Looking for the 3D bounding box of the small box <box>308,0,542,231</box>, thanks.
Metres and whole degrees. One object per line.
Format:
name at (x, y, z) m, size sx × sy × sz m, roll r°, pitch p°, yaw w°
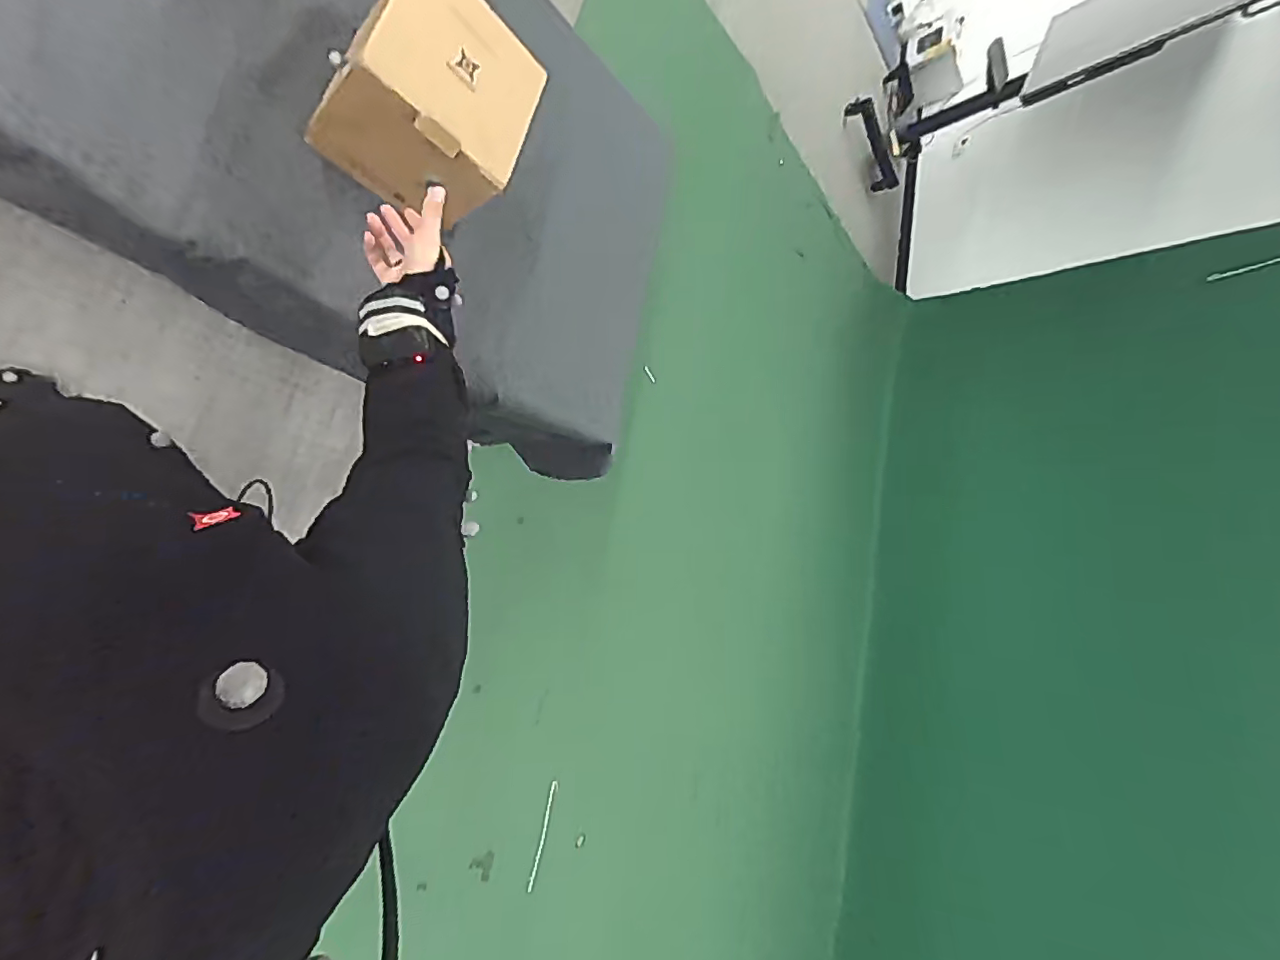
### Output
small box at (-0.246, -0.423, 0.616) m, size 0.168 × 0.176 × 0.179 m, roll 29°, pitch 67°, yaw -44°
